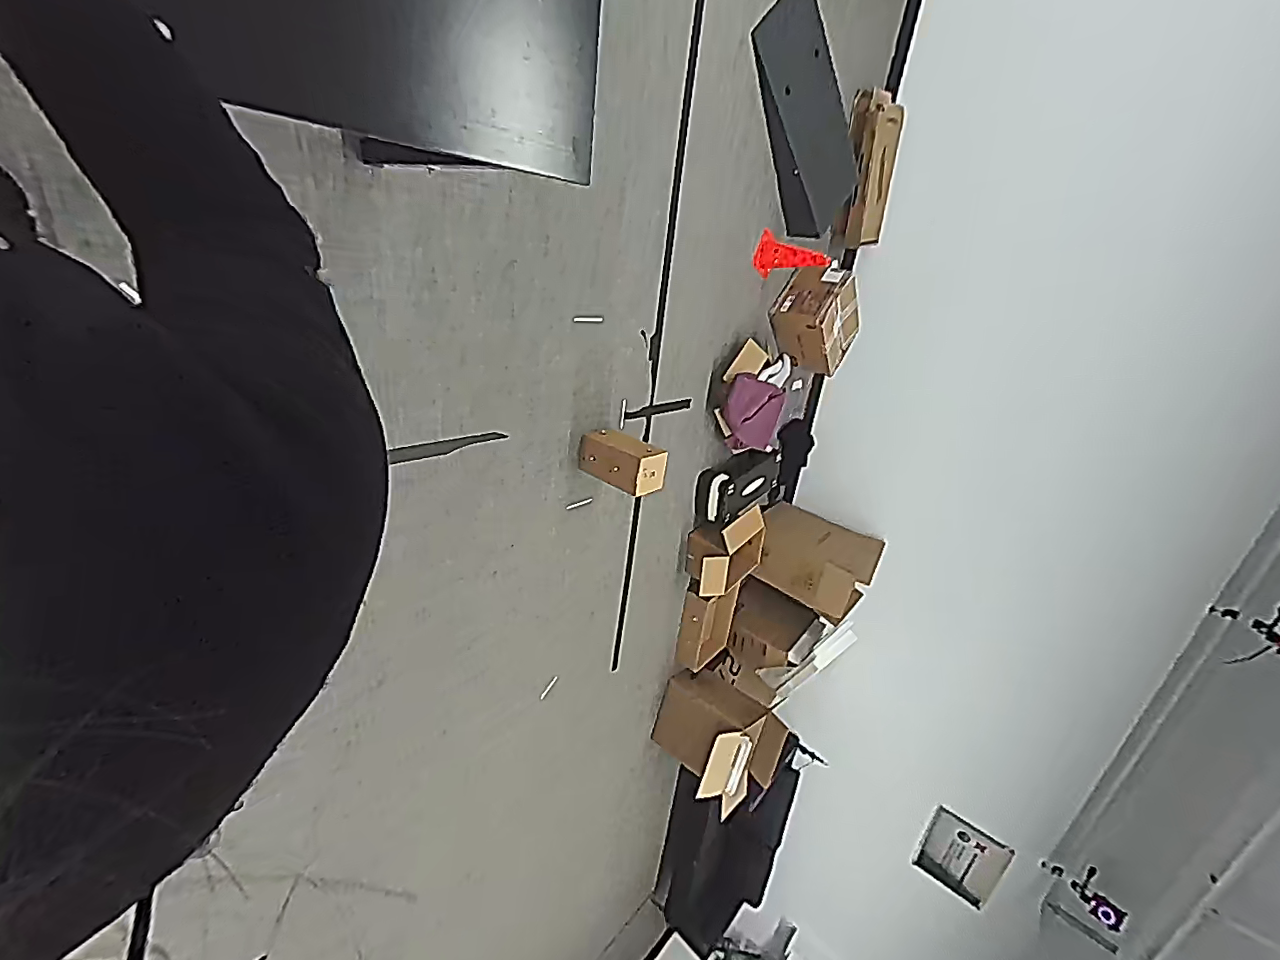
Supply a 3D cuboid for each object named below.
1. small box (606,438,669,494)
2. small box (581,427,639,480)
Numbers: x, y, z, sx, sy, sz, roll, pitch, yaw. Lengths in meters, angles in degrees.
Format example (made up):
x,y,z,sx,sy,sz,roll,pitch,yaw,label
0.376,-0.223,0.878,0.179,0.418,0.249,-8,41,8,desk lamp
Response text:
x,y,z,sx,sy,sz,roll,pitch,yaw,label
-0.011,-0.062,2.201,0.179,0.176,0.168,-17,123,-47,small box
-0.132,-0.118,2.301,0.179,0.176,0.168,-19,125,-46,small box
